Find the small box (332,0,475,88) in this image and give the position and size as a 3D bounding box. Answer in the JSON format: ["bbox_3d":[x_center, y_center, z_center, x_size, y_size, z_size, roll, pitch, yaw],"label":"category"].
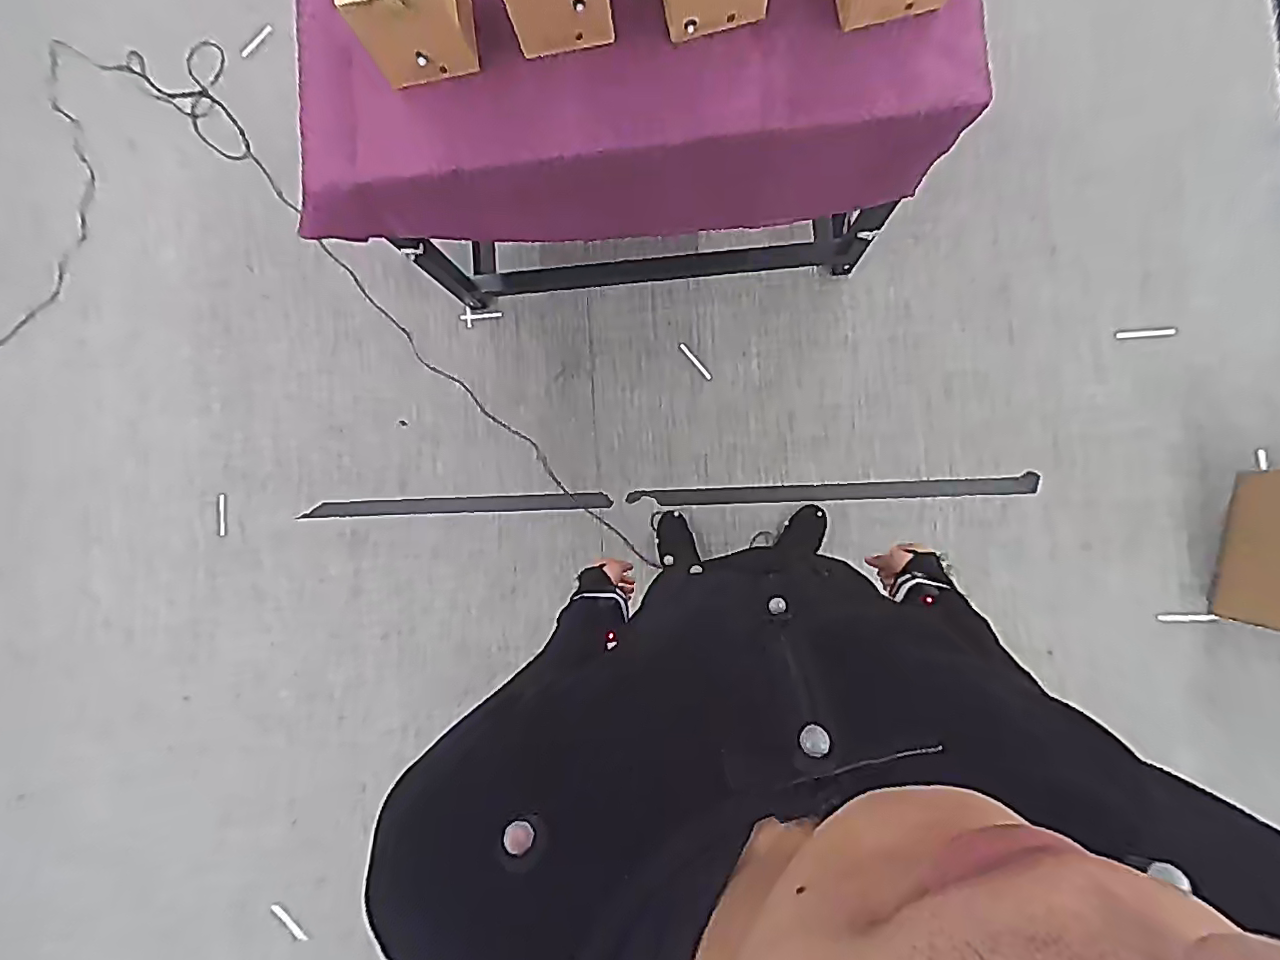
[{"bbox_3d":[-0.395,-0.815,0.909,0.168,0.176,0.179,-8,87,6],"label":"small box"}]

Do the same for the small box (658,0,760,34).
[{"bbox_3d":[0.104,-0.864,0.862,0.168,0.176,0.179,-12,86,5],"label":"small box"}]

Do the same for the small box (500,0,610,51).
[{"bbox_3d":[-0.148,-0.851,0.889,0.168,0.176,0.179,-6,87,5],"label":"small box"}]
